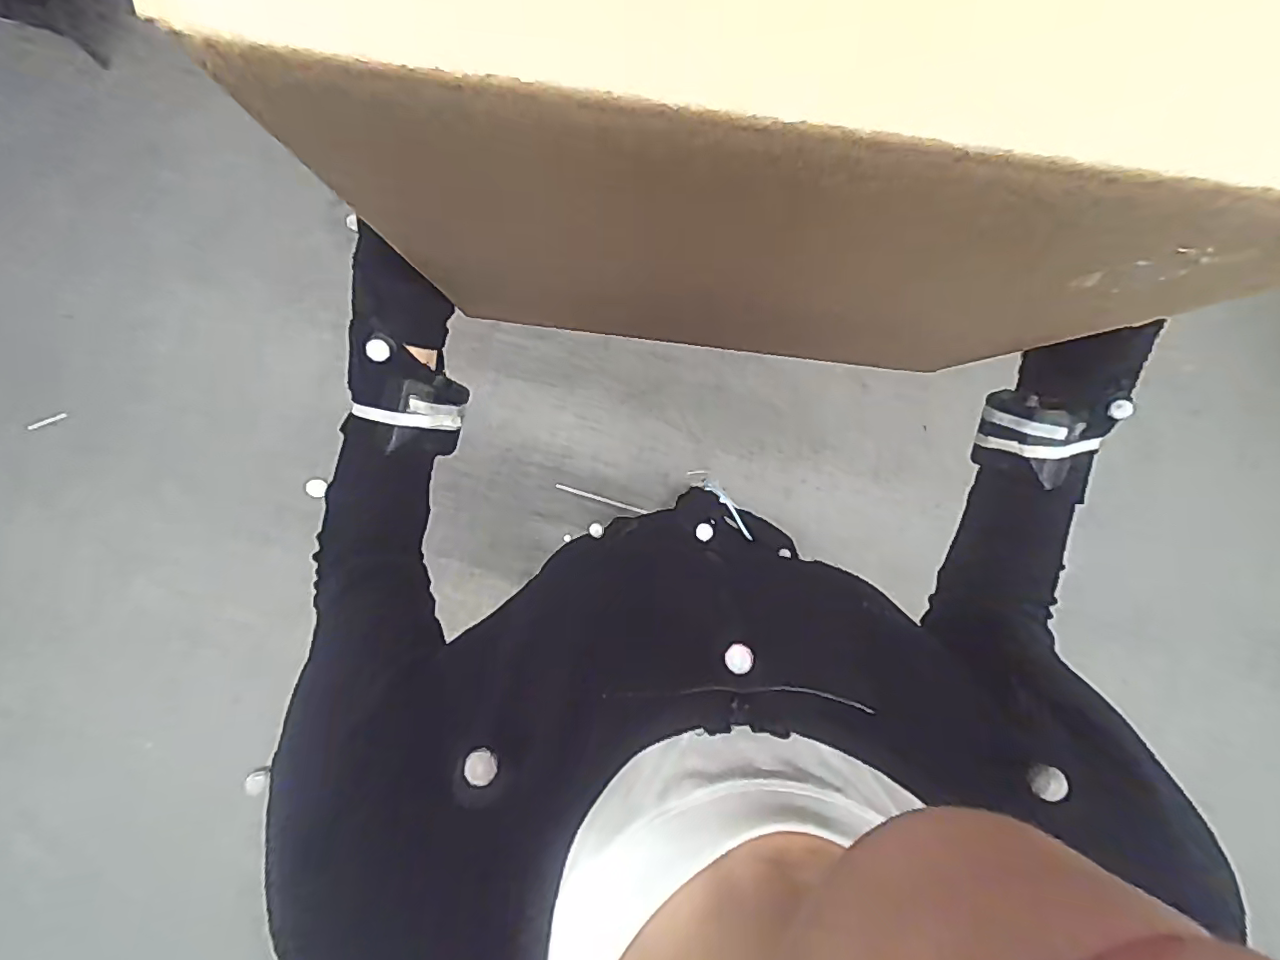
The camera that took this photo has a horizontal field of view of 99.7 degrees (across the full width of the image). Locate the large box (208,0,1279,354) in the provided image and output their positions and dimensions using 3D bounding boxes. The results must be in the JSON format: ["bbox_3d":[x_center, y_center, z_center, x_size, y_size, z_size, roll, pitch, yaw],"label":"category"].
[{"bbox_3d":[0.079,-0.266,0.299,0.408,0.320,0.320,5,94,-5],"label":"large box"}]
